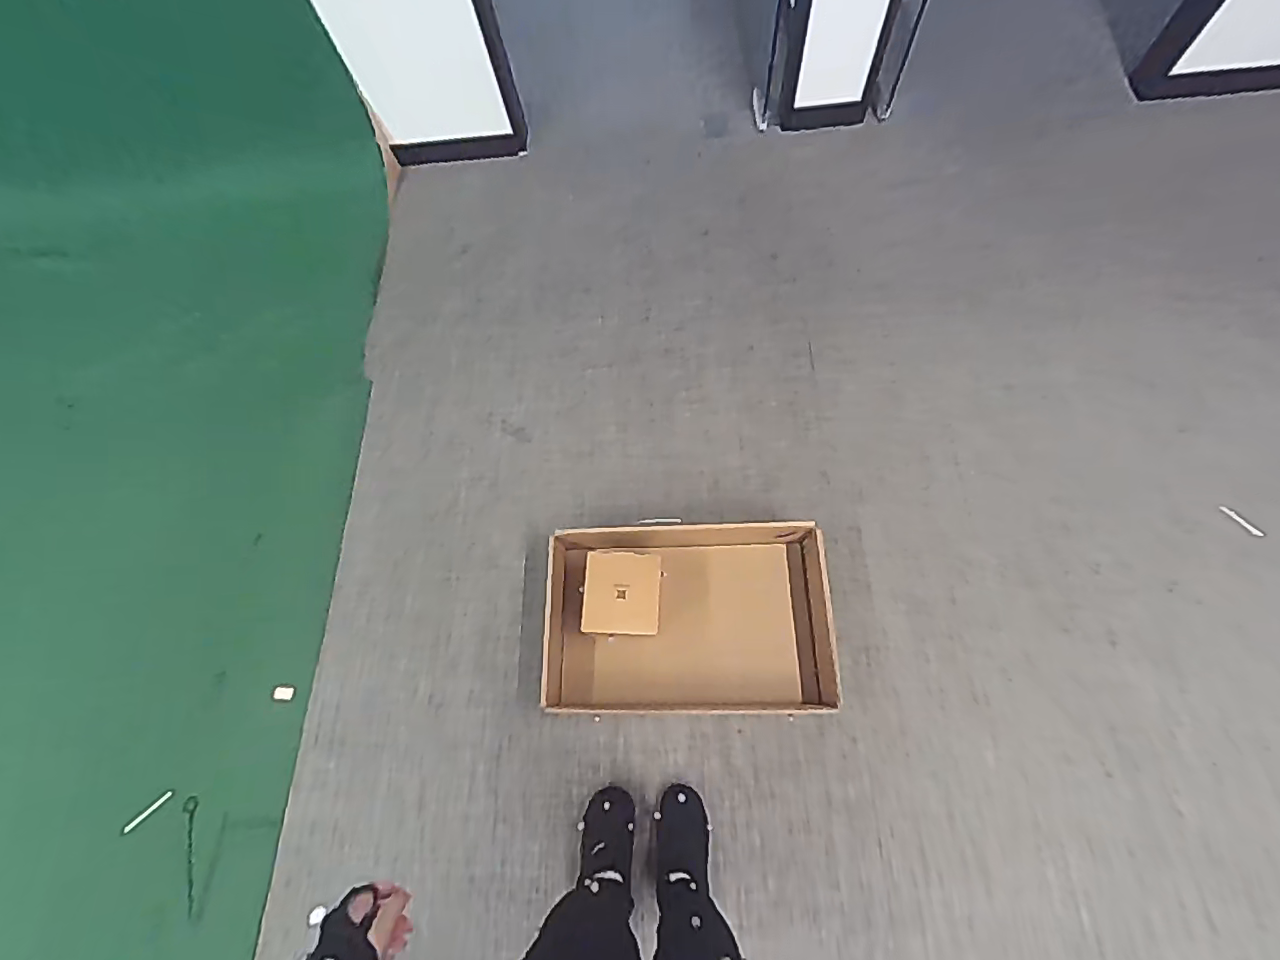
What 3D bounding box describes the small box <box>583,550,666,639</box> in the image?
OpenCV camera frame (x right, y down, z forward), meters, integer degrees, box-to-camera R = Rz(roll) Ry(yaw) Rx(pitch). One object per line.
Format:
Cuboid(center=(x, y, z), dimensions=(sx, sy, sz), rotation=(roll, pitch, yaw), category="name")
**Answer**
Cuboid(center=(-0.028, 0.267, 1.240), dimensions=(0.168, 0.176, 0.179), rotation=(2, 69, 5), category="small box")
